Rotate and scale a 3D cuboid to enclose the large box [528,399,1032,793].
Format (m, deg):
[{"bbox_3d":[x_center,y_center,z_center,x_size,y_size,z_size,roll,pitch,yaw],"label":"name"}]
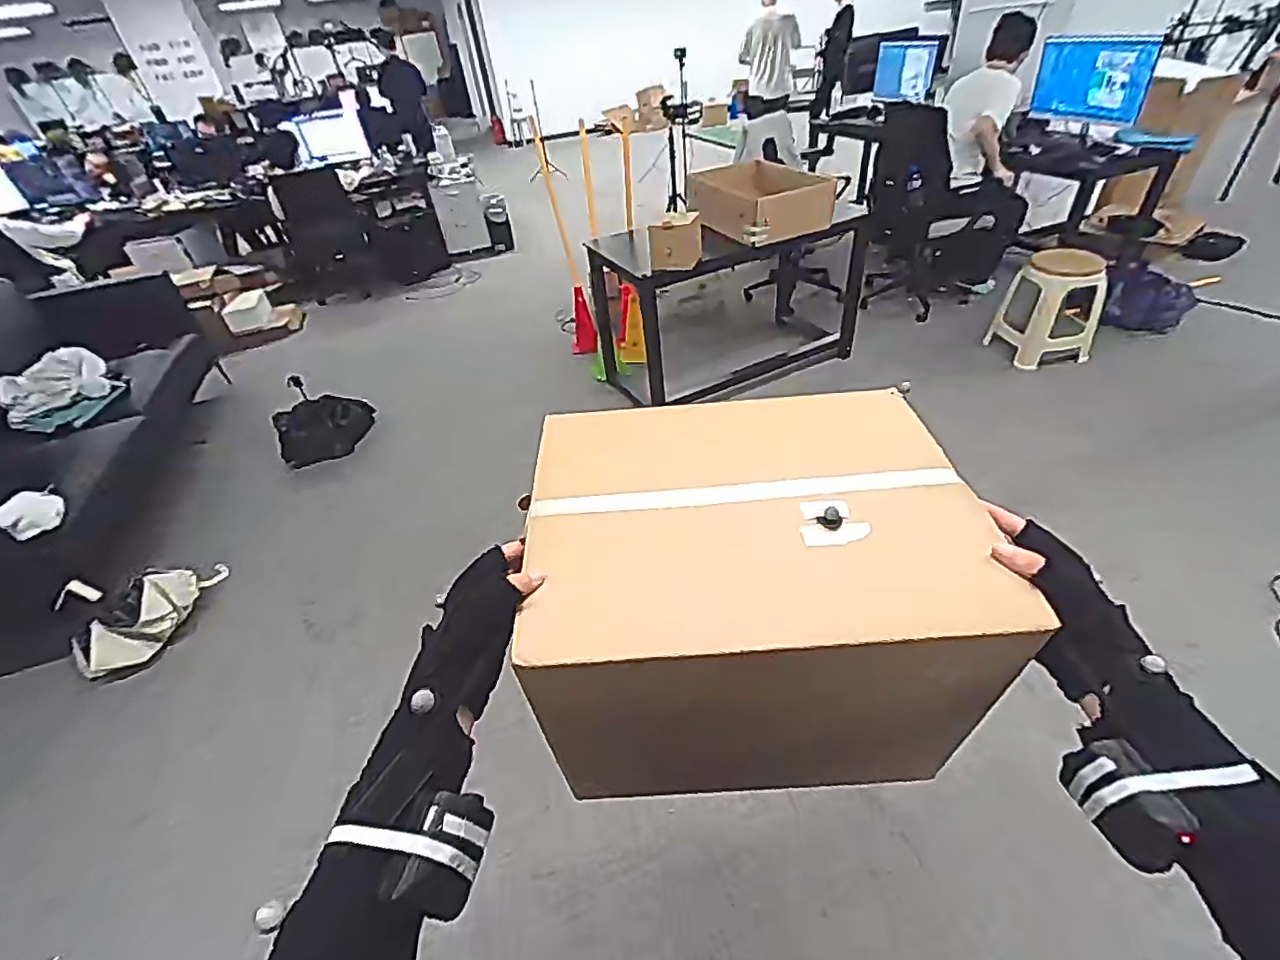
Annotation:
[{"bbox_3d":[0.108,0.131,0.625,0.408,0.320,0.320,-4,43,0],"label":"large box"}]
